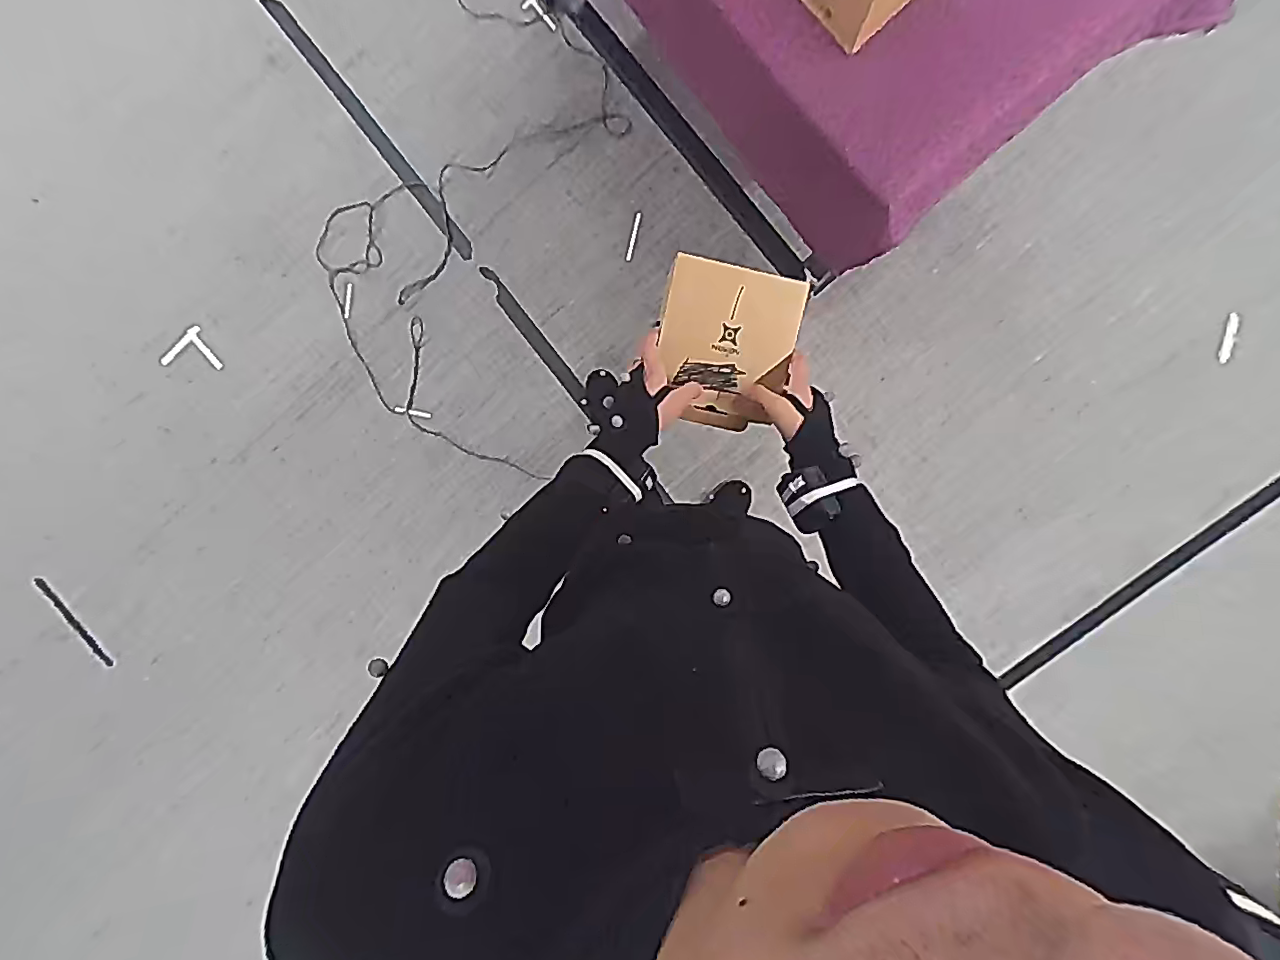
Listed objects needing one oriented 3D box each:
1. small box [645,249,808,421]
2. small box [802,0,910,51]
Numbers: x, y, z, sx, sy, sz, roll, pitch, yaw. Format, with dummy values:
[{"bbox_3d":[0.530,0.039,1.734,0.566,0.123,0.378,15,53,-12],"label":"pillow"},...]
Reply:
[{"bbox_3d":[0.104,-0.189,0.734,0.168,0.176,0.179,12,101,-4],"label":"small box"},{"bbox_3d":[0.331,-0.767,0.747,0.179,0.176,0.168,-41,90,6],"label":"small box"}]
